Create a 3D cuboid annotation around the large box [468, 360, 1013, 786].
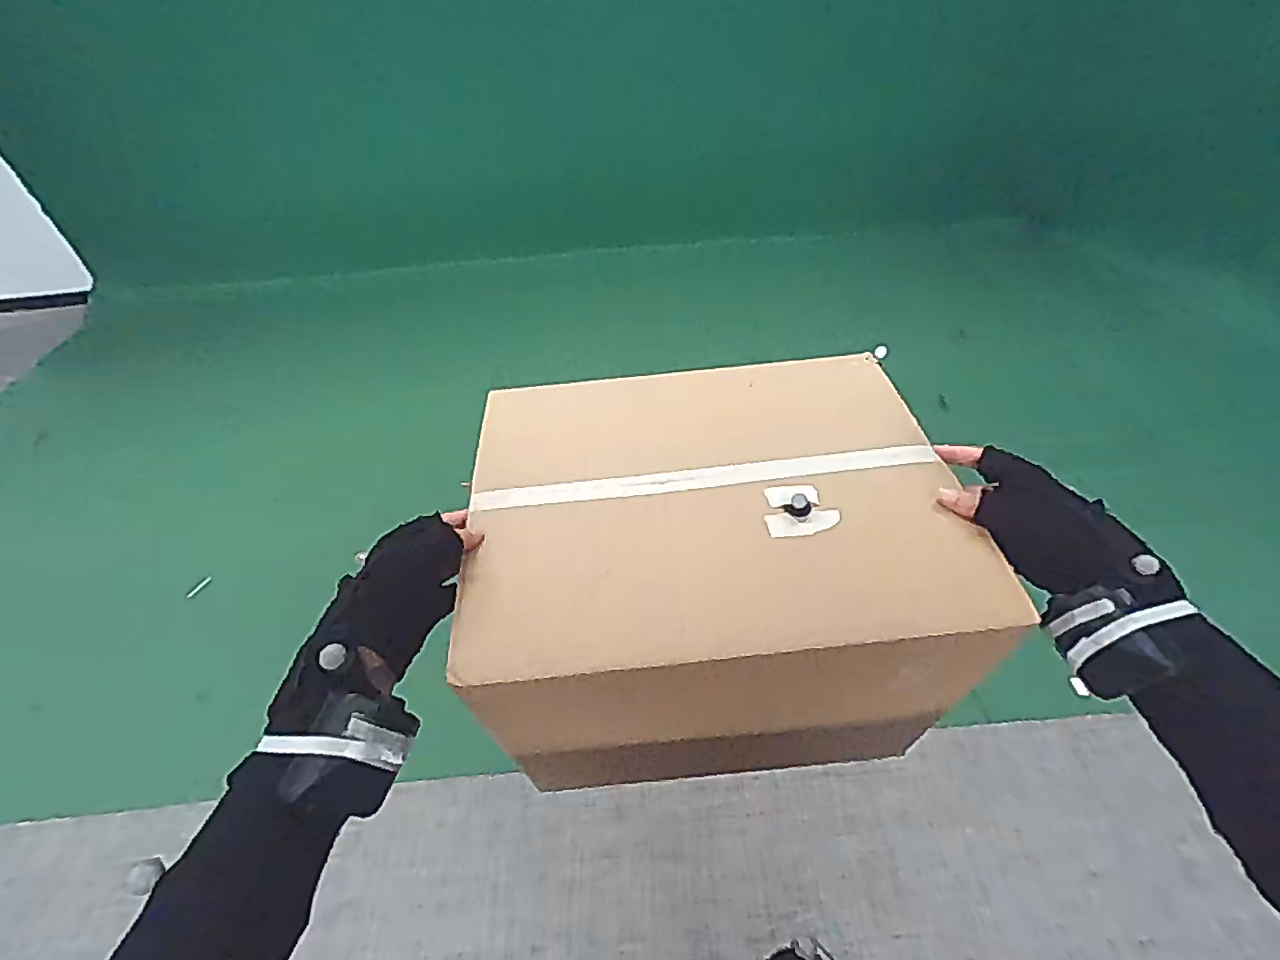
[{"bbox_3d":[0.068,0.106,0.591,0.408,0.320,0.320,-7,49,0],"label":"large box"}]
